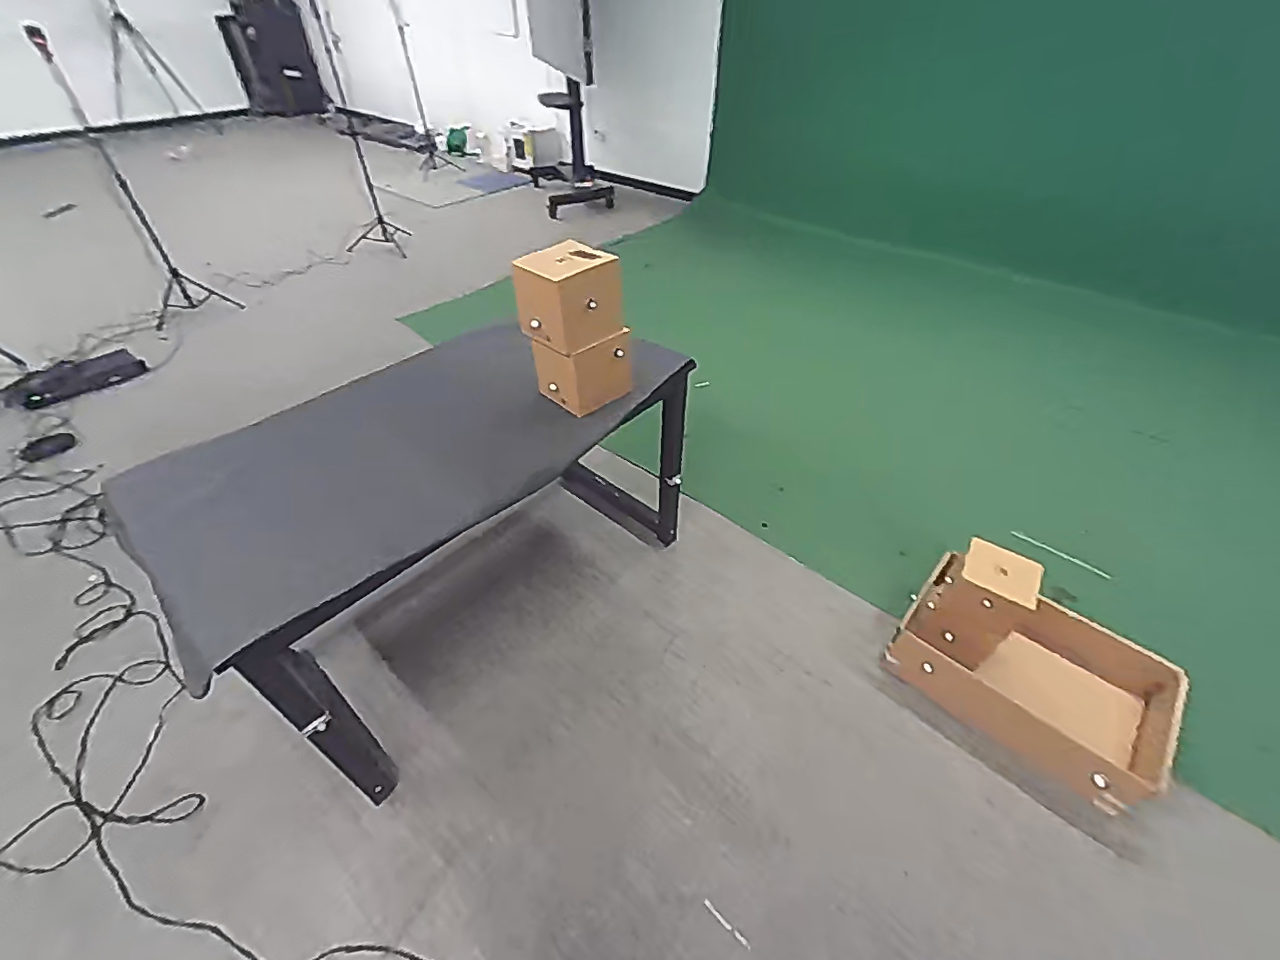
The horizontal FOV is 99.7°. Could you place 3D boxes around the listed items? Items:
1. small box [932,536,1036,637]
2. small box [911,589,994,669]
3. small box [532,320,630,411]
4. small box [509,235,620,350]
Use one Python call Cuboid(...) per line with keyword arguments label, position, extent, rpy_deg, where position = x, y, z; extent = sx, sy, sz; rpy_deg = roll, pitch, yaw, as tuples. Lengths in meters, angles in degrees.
Cuboid(label="small box", position=(0.926, 0.292, 1.466), extent=(0.179, 0.176, 0.168), rpy_deg=(27, 51, 22))
Cuboid(label="small box", position=(0.928, 0.413, 1.577), extent=(0.179, 0.176, 0.168), rpy_deg=(34, 53, 30))
Cuboid(label="small box", position=(-0.141, -0.295, 1.307), extent=(0.179, 0.176, 0.168), rpy_deg=(-33, 51, -30))
Cuboid(label="small box", position=(-0.161, -0.415, 1.195), extent=(0.179, 0.176, 0.168), rpy_deg=(-35, 52, -30))
